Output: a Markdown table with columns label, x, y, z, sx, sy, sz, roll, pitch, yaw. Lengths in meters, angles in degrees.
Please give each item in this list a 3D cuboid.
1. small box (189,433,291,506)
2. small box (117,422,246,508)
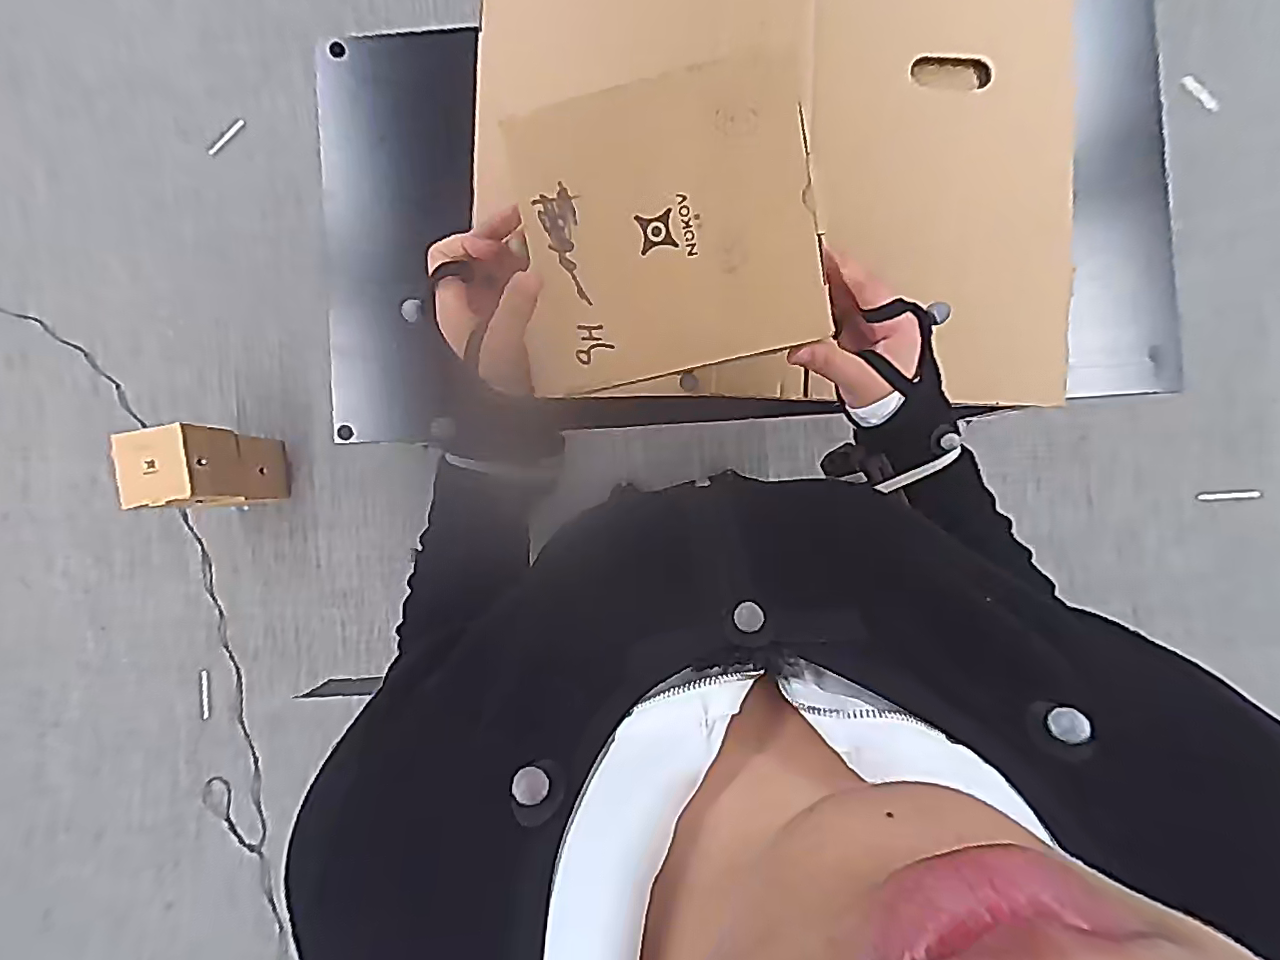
| label | x | y | z | sx | sy | sz | roll | pitch | yaw |
| --- | --- | --- | --- | --- | --- | --- | --- | --- | --- |
| small box | -1.091 | -0.026 | 1.473 | 0.168 | 0.176 | 0.179 | -8 | 90 | 2 |
| small box | -1.098 | -0.034 | 1.310 | 0.168 | 0.176 | 0.179 | -10 | 88 | 1 |
